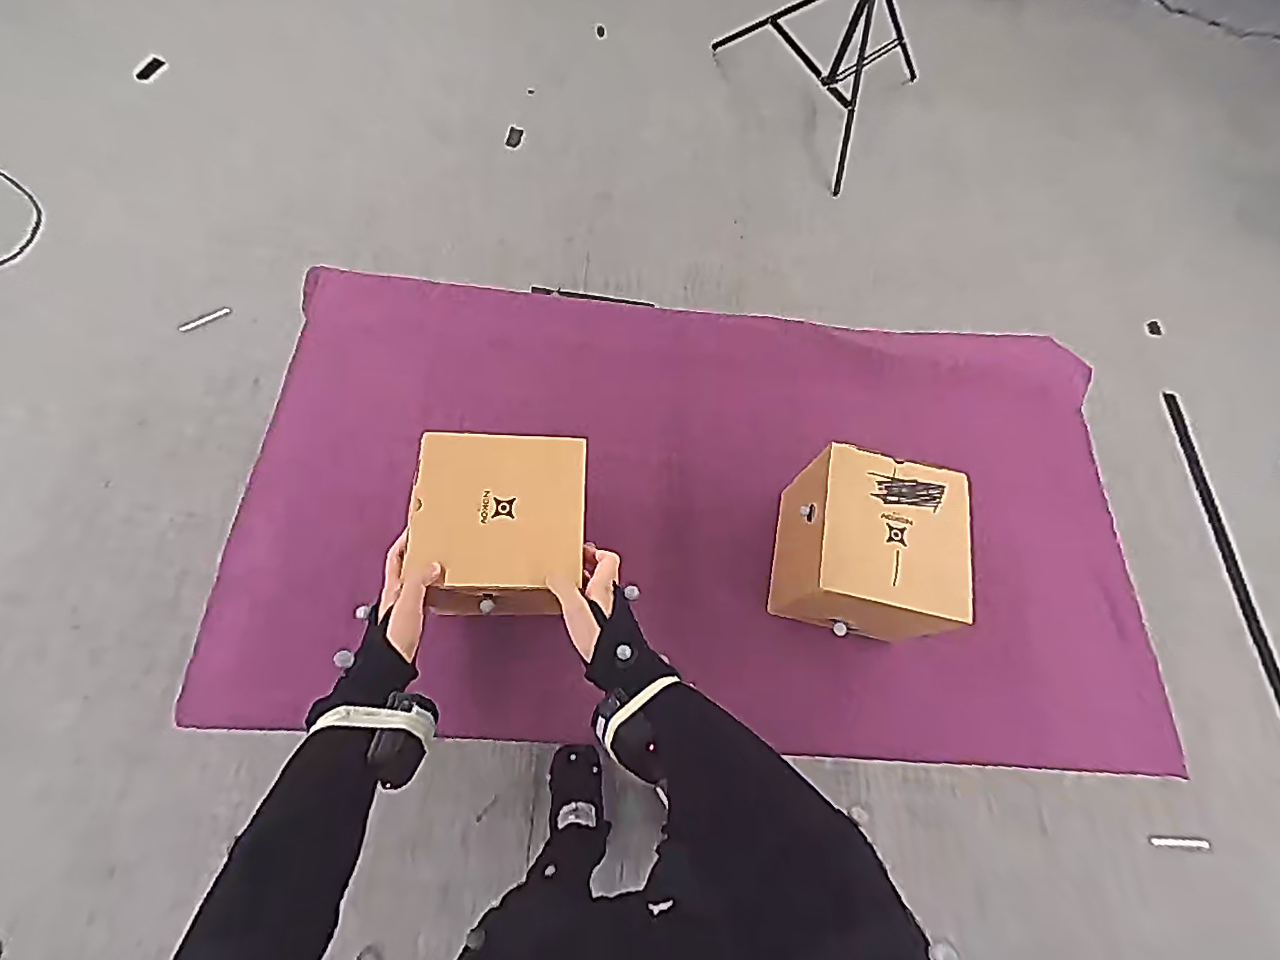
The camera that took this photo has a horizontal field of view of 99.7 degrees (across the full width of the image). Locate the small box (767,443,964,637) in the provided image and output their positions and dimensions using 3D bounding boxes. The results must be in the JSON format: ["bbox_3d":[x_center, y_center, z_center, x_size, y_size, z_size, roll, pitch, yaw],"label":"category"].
[{"bbox_3d":[0.267,0.083,0.666,0.168,0.176,0.179,14,68,-1],"label":"small box"}]

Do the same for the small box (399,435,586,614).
[{"bbox_3d":[-0.154,0.060,0.628,0.179,0.176,0.168,1,68,-6],"label":"small box"}]
